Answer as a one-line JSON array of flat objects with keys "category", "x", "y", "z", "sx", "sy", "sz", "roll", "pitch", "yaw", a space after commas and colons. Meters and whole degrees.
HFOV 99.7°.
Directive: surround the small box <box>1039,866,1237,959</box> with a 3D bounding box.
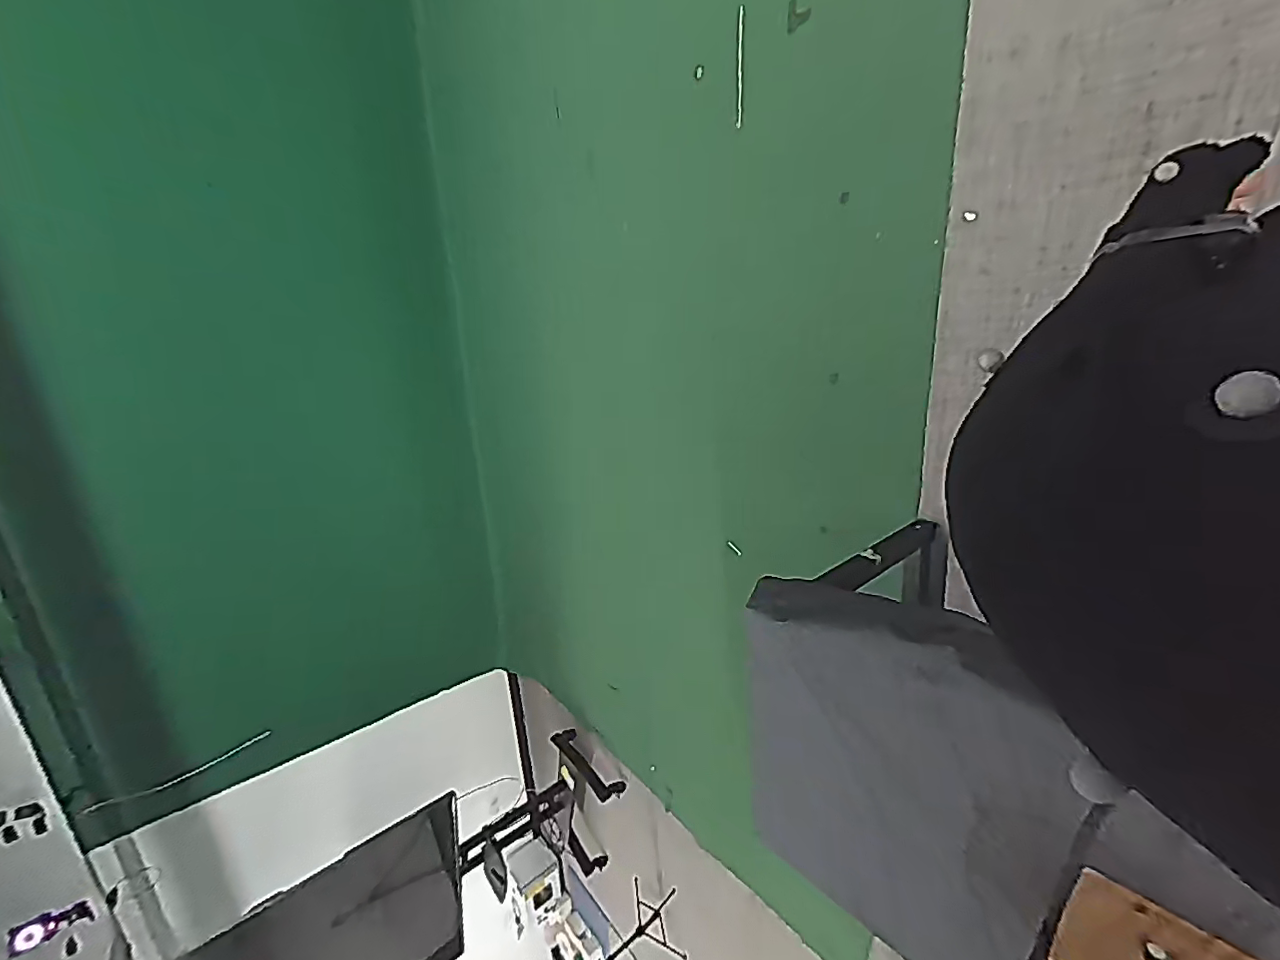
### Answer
[{"category": "small box", "x": 0.590, "y": 0.624, "z": 0.646, "sx": 0.168, "sy": 0.176, "sz": 0.179, "roll": 14, "pitch": 114, "yaw": 50}]
